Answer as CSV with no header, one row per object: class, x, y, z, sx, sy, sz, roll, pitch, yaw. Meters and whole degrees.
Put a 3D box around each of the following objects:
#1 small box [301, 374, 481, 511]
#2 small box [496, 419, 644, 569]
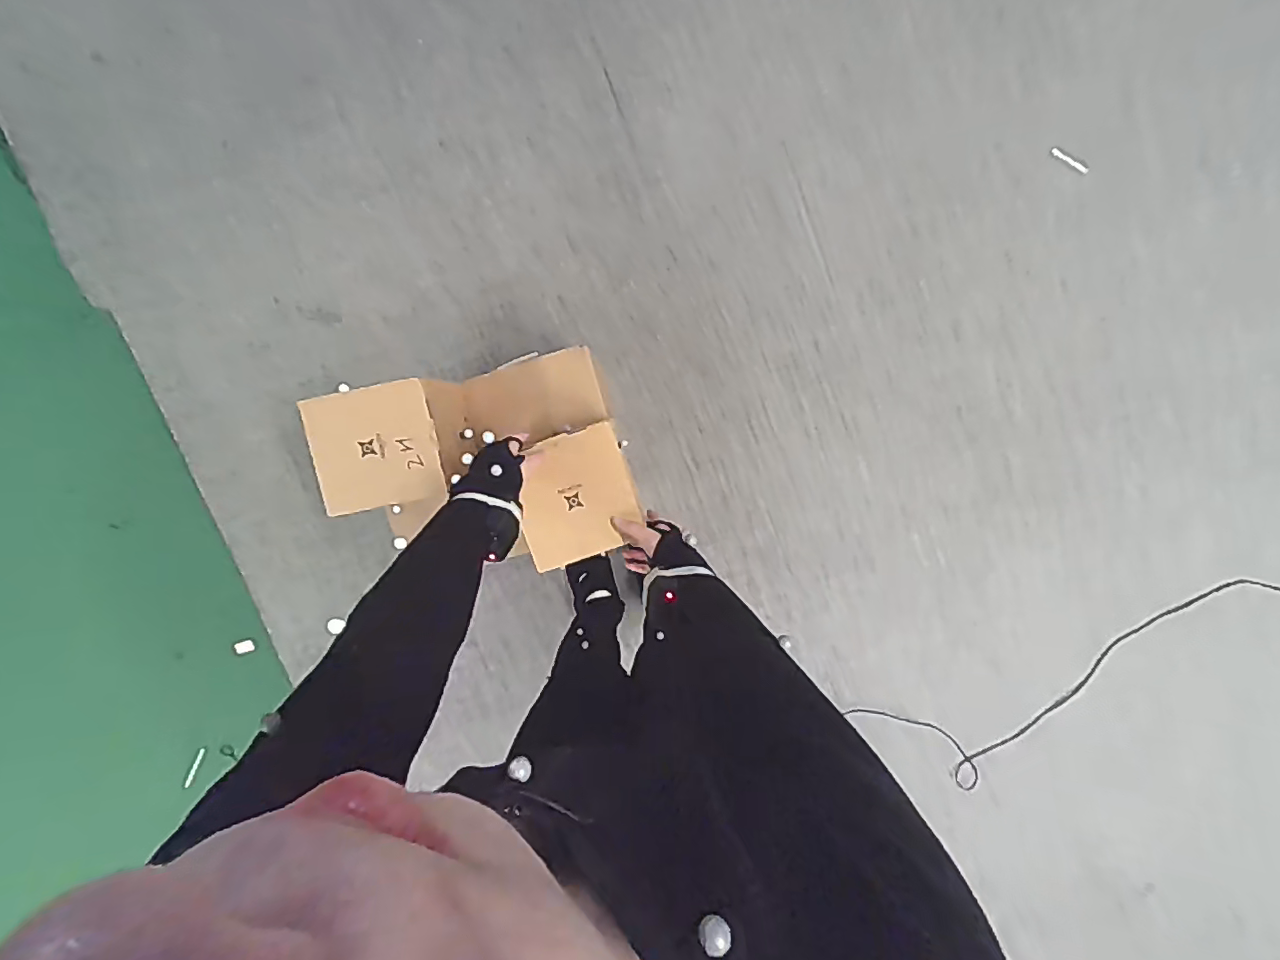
small box,-0.364,-0.057,0.821,0.179,0.176,0.168,-11,96,0
small box,-0.096,0.011,0.830,0.168,0.176,0.179,-19,96,1
